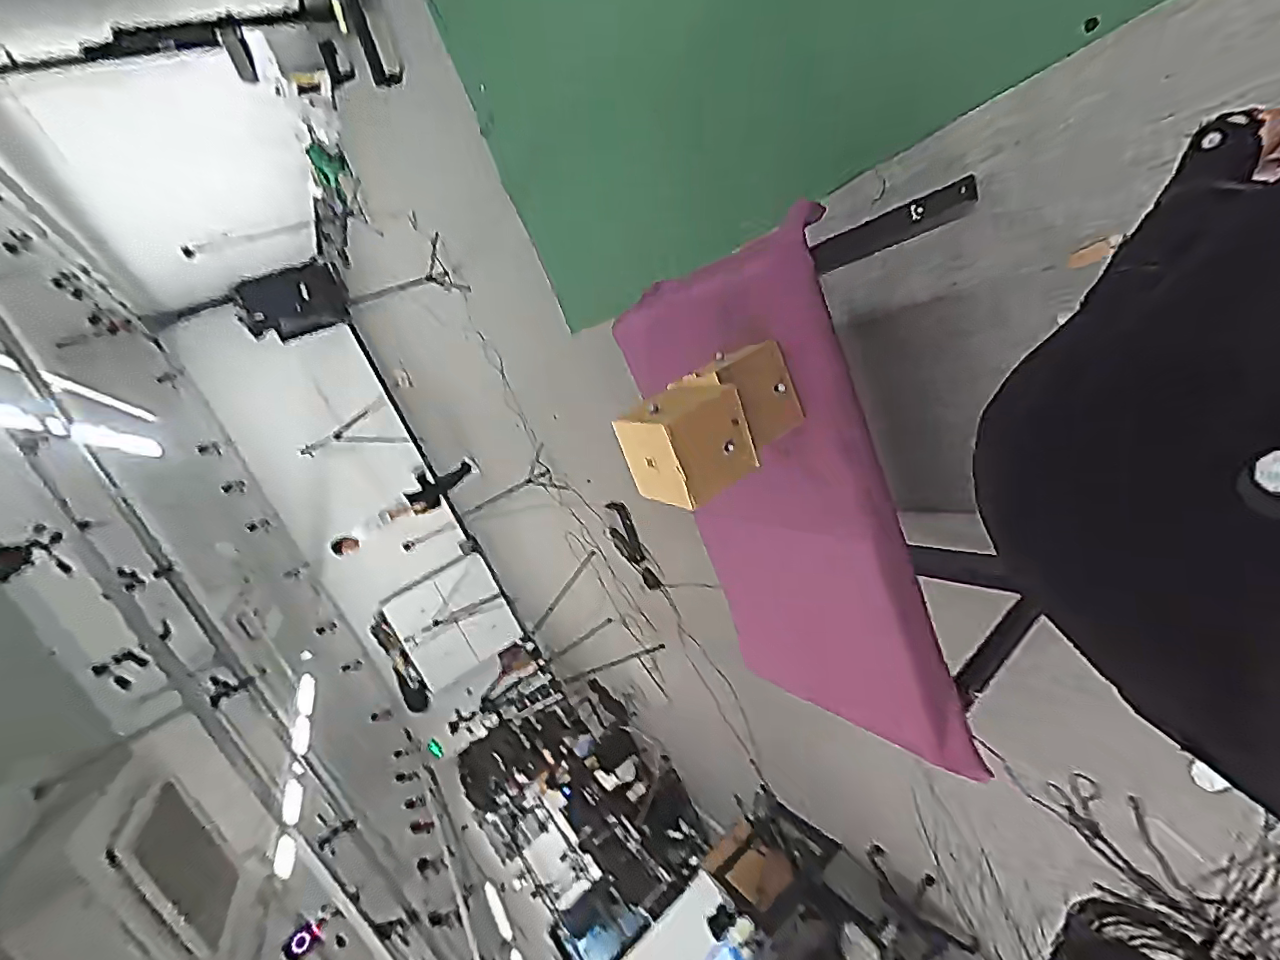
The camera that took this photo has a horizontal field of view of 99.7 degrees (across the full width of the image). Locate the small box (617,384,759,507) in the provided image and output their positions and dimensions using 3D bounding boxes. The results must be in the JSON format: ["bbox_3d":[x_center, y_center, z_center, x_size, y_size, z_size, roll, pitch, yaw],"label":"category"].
[{"bbox_3d":[0.090,-0.072,1.006,0.179,0.176,0.168,13,128,56],"label":"small box"}]

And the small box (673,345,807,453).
[{"bbox_3d":[0.203,-0.158,1.089,0.168,0.176,0.179,2,118,62],"label":"small box"}]
